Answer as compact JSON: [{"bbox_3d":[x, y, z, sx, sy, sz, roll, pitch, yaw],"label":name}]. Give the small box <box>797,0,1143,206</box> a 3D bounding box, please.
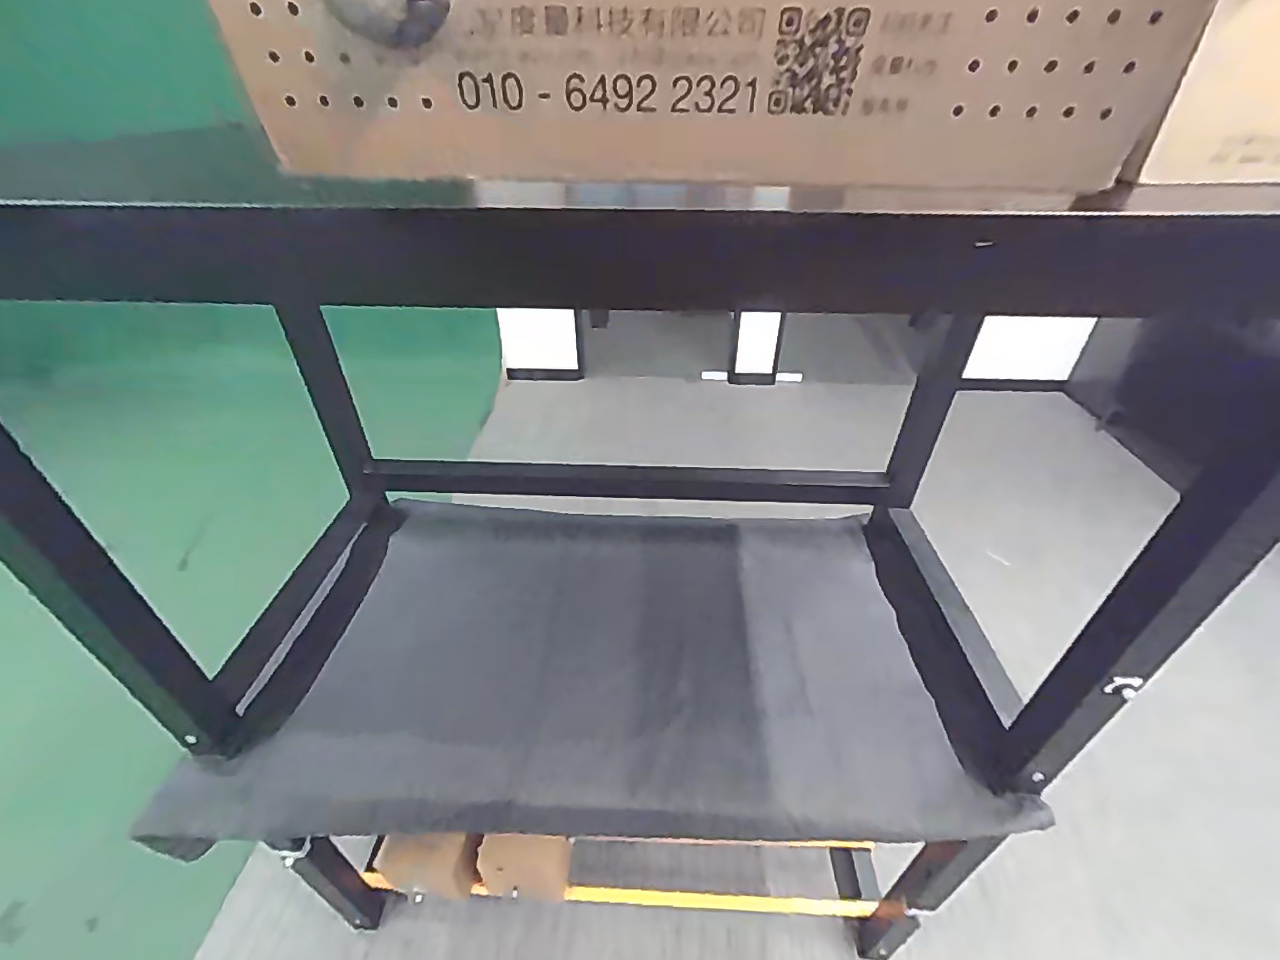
[{"bbox_3d":[0.228,-0.319,0.416,0.168,0.176,0.179,1,36,2],"label":"small box"}]
